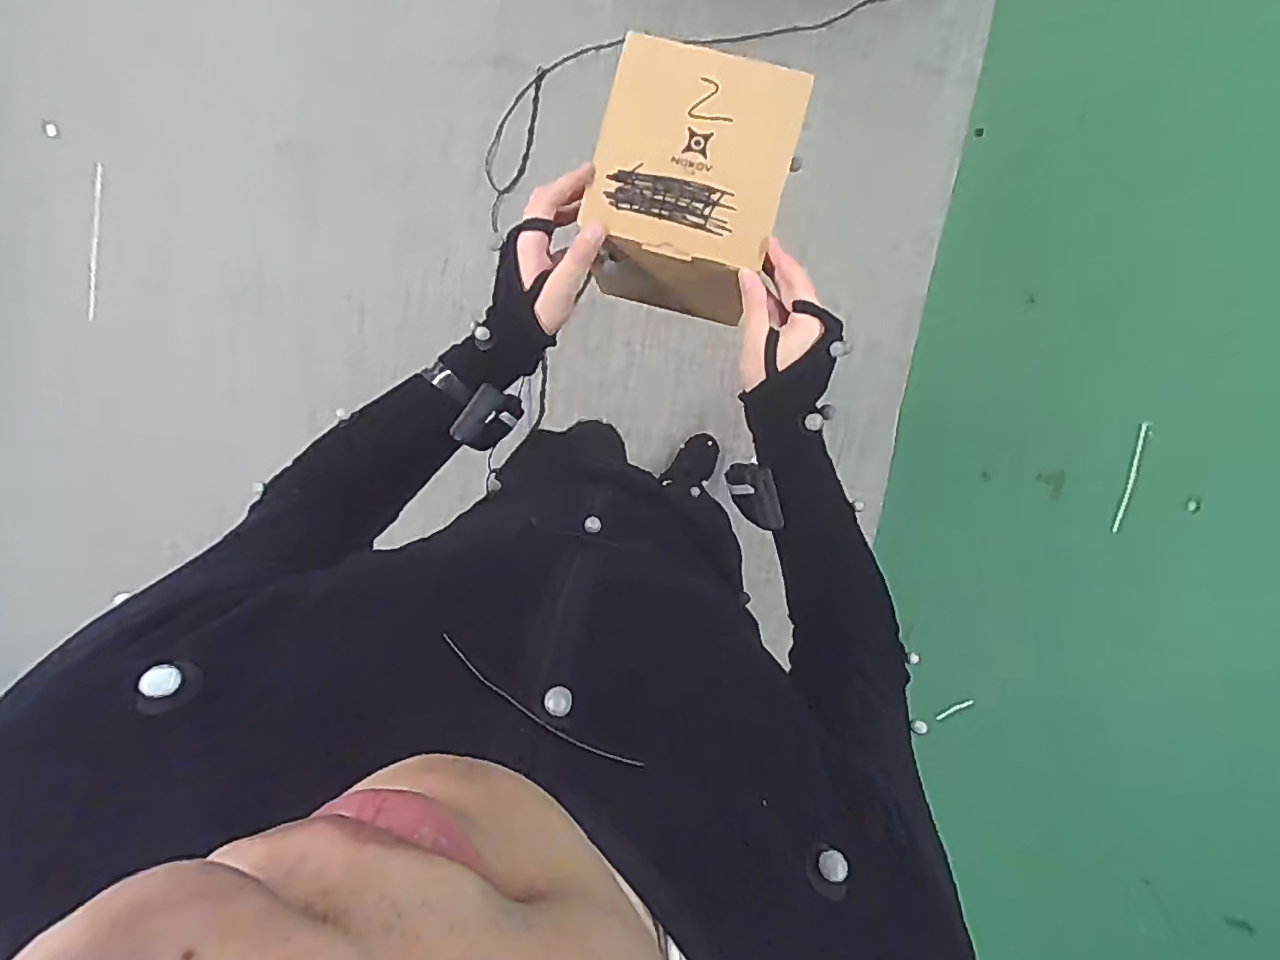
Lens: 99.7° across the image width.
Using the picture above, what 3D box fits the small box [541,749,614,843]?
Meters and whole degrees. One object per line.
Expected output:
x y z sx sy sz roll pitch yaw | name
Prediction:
-0.179 0.935 1.616 0.179 0.176 0.168 10 95 4 | small box
